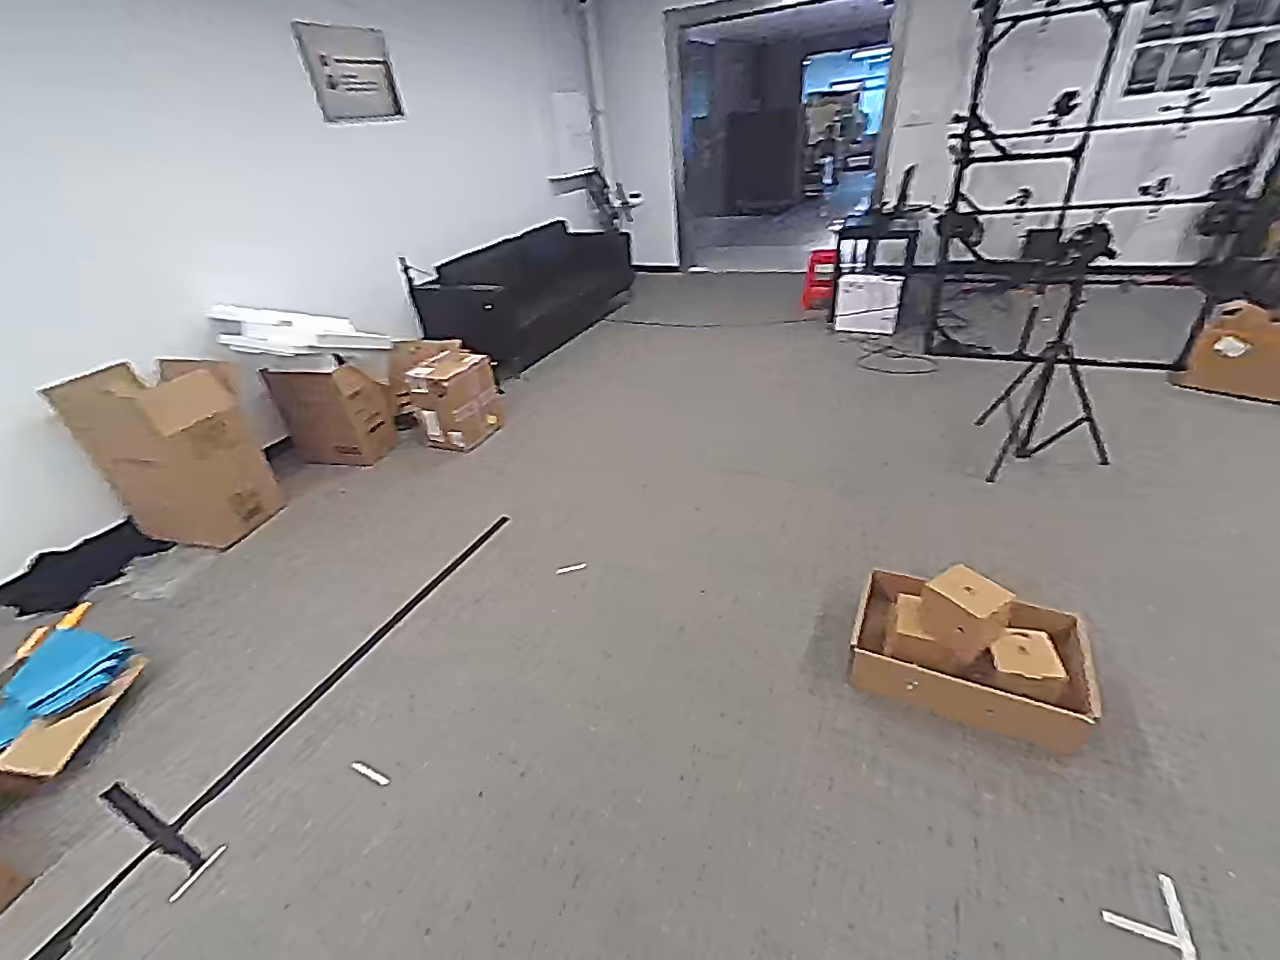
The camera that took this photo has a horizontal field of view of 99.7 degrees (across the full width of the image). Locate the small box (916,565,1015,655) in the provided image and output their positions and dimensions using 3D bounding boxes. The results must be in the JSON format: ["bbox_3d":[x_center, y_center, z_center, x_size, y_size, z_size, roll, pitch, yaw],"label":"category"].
[{"bbox_3d":[0.951,0.387,1.594,0.168,0.176,0.179,-20,34,-24],"label":"small box"}]

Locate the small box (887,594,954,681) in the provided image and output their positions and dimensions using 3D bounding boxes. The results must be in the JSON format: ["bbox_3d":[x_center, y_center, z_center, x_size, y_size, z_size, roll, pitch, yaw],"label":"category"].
[{"bbox_3d":[0.894,0.501,1.726,0.168,0.176,0.179,11,36,23],"label":"small box"}]
